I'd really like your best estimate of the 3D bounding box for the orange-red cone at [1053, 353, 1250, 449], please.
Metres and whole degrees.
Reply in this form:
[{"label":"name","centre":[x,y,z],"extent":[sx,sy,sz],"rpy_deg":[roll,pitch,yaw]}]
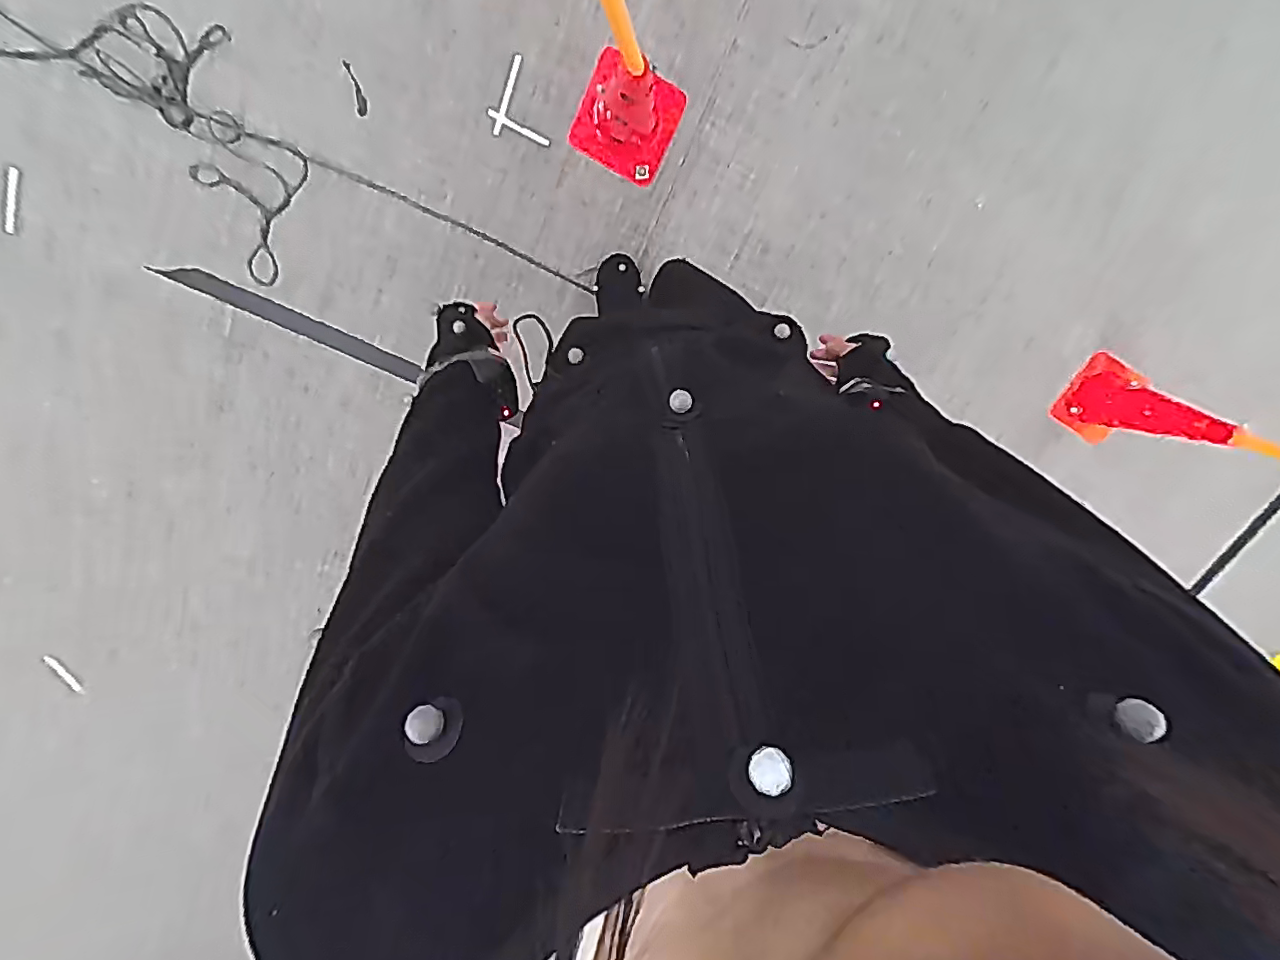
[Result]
[{"label":"orange-red cone","centre":[1.245,-0.151,1.290],"extent":[0.199,0.360,0.198],"rpy_deg":[26,109,-14]}]
